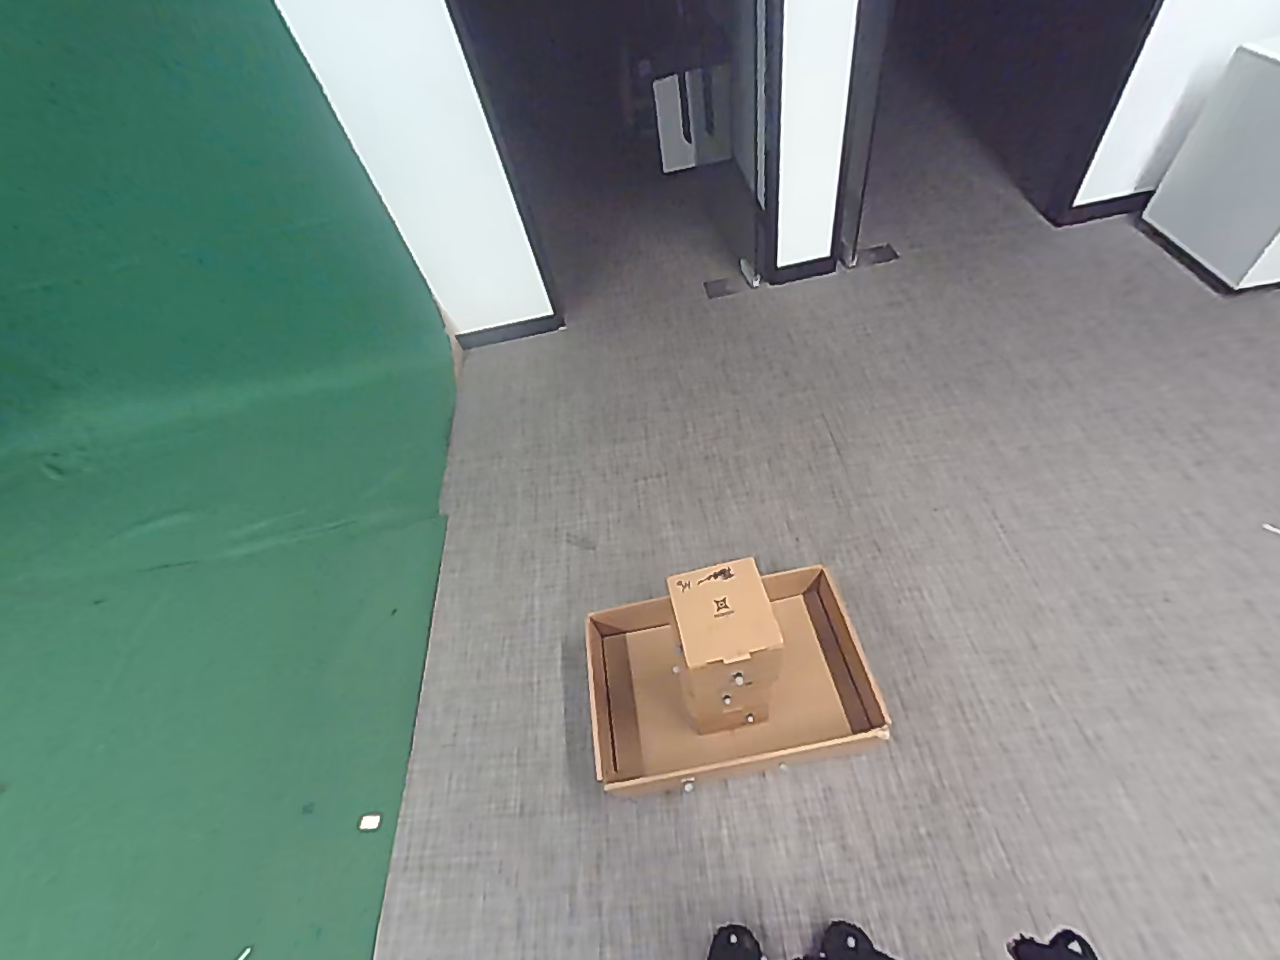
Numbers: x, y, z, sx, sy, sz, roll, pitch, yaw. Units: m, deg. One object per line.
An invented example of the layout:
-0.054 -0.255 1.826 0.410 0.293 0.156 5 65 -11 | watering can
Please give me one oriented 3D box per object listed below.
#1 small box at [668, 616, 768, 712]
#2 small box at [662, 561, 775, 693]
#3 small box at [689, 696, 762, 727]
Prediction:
0.164 0.380 1.154 0.179 0.176 0.168 -12 50 3 | small box
0.150 0.286 1.024 0.168 0.176 0.179 -16 50 0 | small box
0.186 0.466 1.272 0.168 0.176 0.179 -12 50 1 | small box
